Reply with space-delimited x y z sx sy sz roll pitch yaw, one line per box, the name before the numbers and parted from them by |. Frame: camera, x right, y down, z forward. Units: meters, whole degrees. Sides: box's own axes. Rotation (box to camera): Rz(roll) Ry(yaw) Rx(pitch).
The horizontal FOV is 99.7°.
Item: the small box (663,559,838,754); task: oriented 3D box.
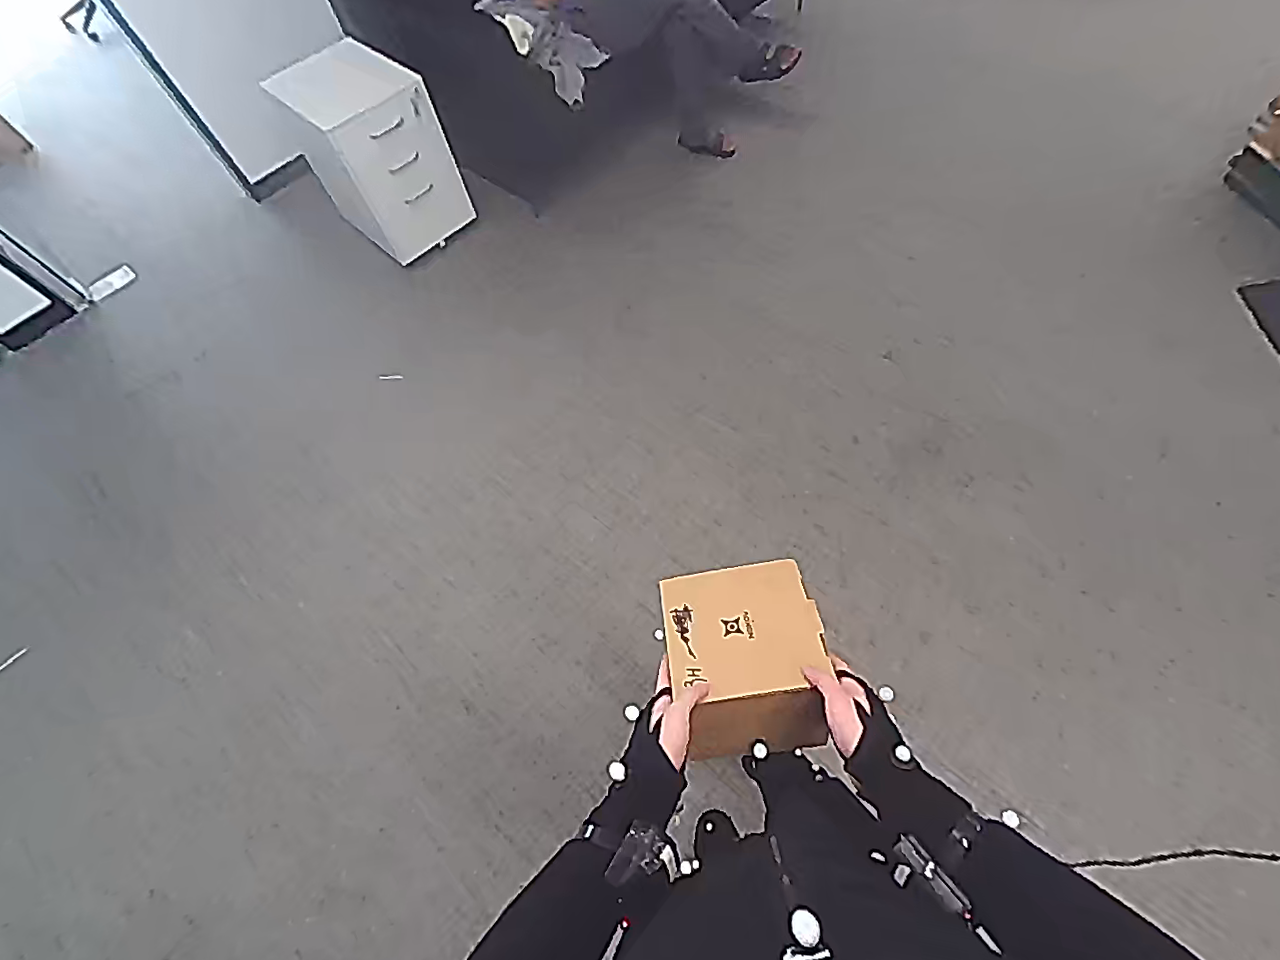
small box | 0.129 0.224 0.682 0.179 0.176 0.168 -9 43 3
